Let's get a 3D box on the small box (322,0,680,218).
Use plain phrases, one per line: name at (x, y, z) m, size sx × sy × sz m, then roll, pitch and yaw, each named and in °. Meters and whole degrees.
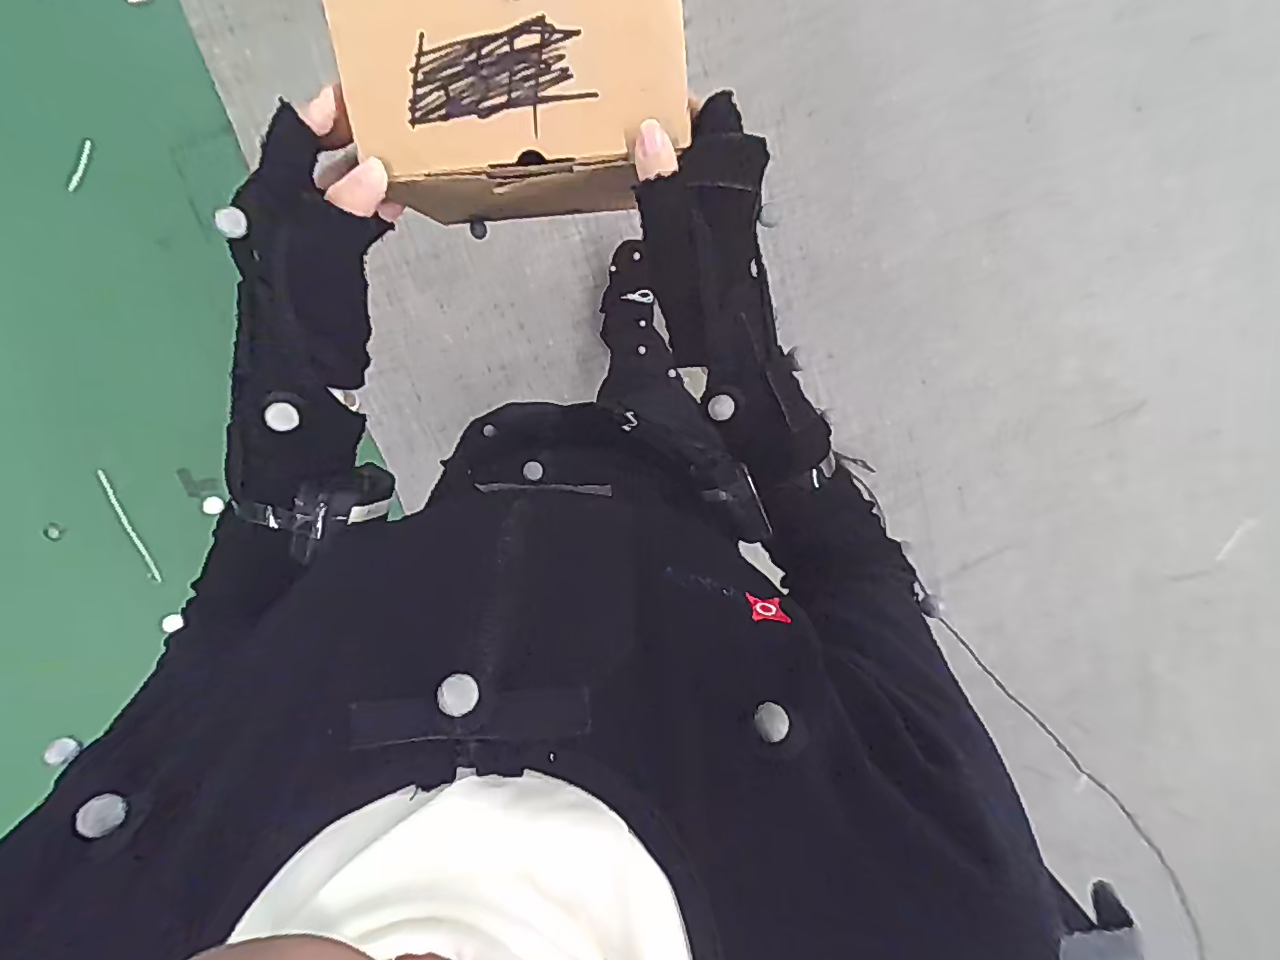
small box at (-0.072, -0.264, 0.323) m, size 0.168 × 0.176 × 0.179 m, roll -7°, pitch 108°, yaw -3°
